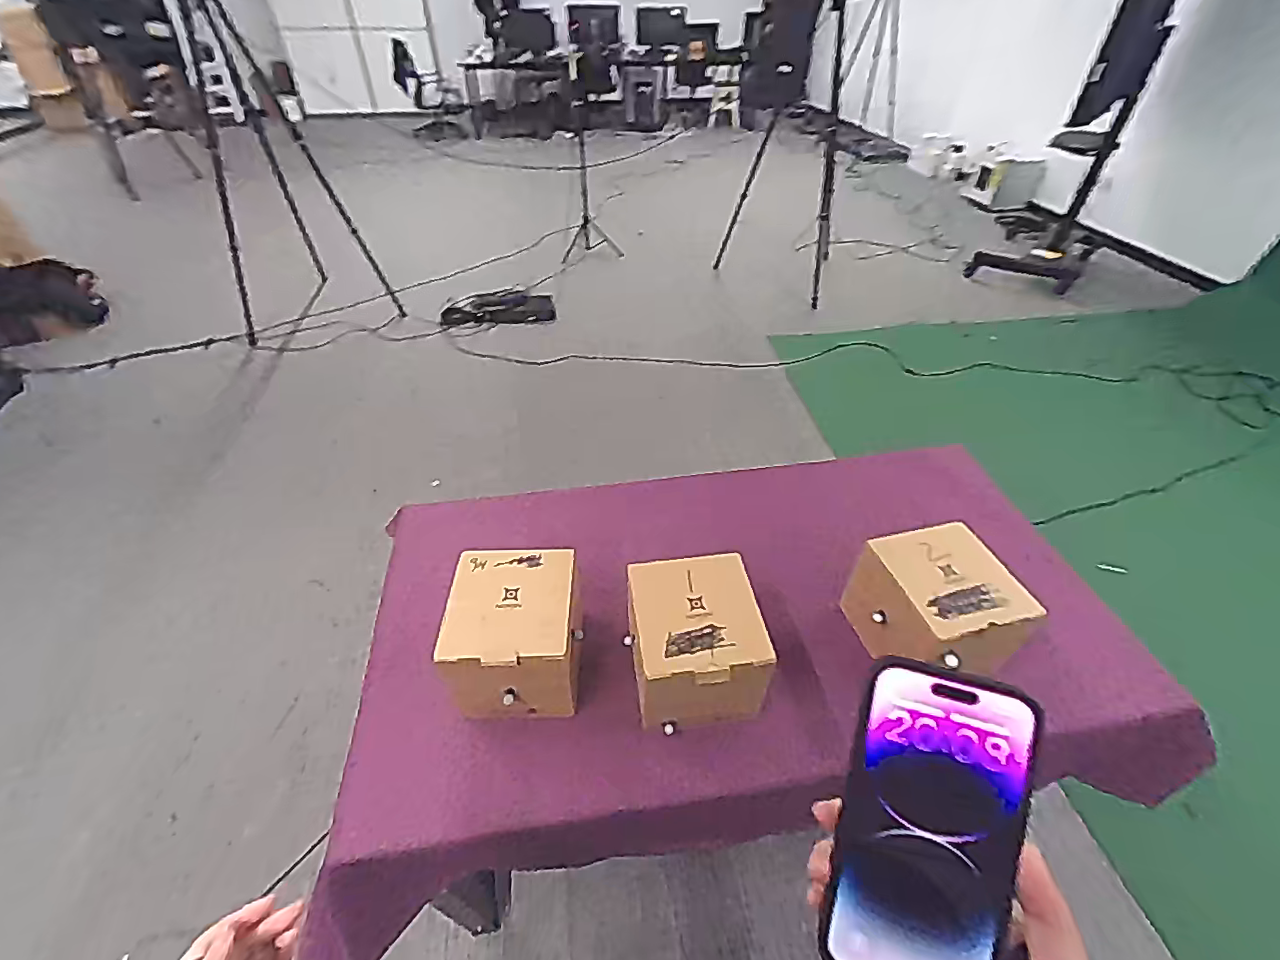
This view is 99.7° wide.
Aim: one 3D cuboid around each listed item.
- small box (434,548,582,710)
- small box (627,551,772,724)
[{"bbox_3d":[-0.175,0.218,0.782,0.168,0.176,0.179,-1,44,-1],"label":"small box"},{"bbox_3d":[0.075,0.228,0.771,0.168,0.176,0.179,-5,42,-6],"label":"small box"}]
